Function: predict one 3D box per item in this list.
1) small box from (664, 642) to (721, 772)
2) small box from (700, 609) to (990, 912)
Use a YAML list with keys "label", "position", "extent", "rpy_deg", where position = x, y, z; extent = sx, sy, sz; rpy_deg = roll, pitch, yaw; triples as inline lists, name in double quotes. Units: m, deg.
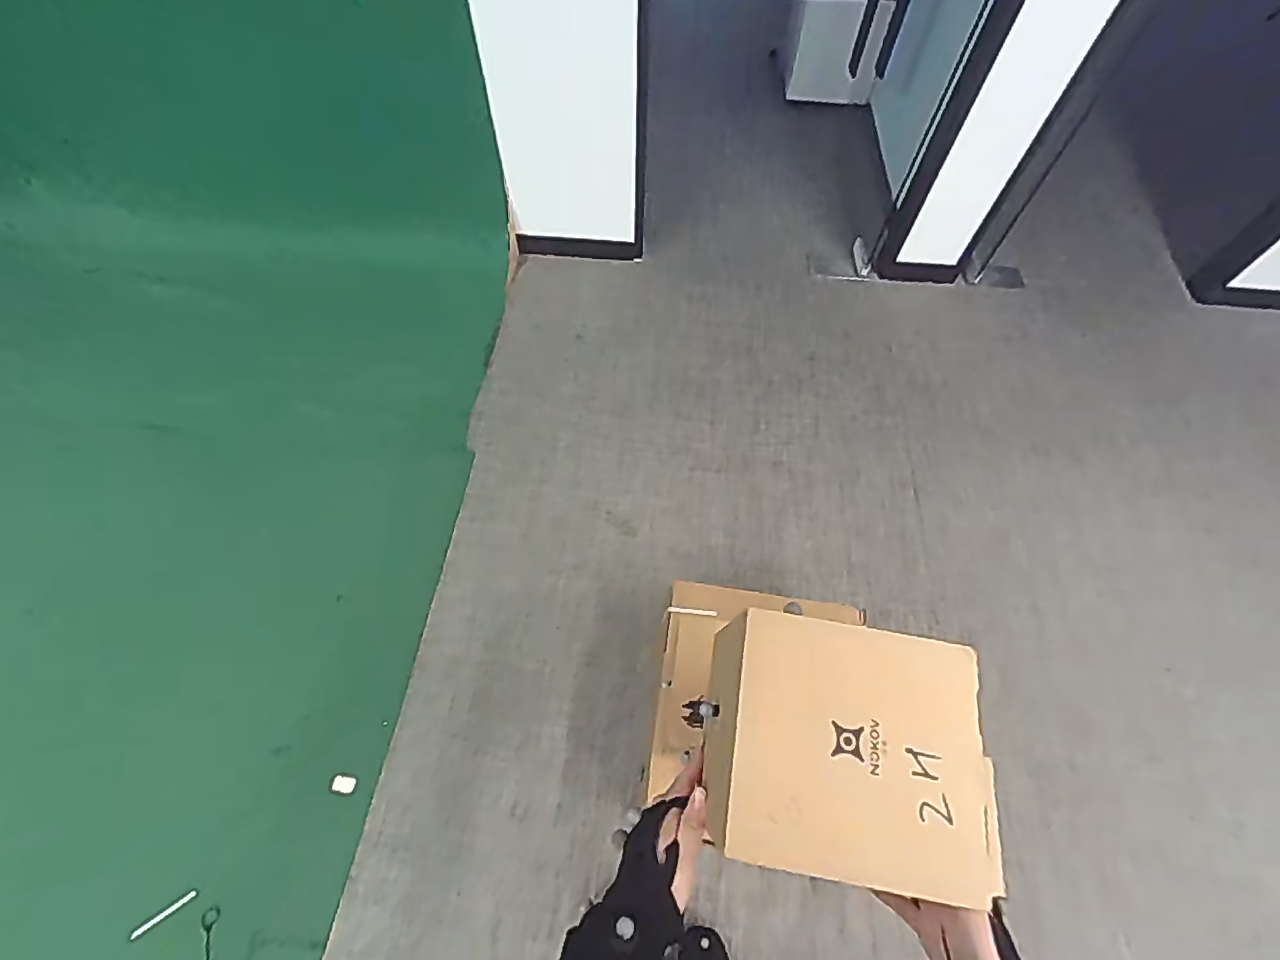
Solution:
- label: "small box"
  position: [0.136, 0.407, 0.941]
  extent: [0.168, 0.176, 0.179]
  rpy_deg: [10, 58, 6]
- label: "small box"
  position: [0.151, 0.217, 0.452]
  extent: [0.179, 0.176, 0.168]
  rpy_deg: [10, 68, 3]
